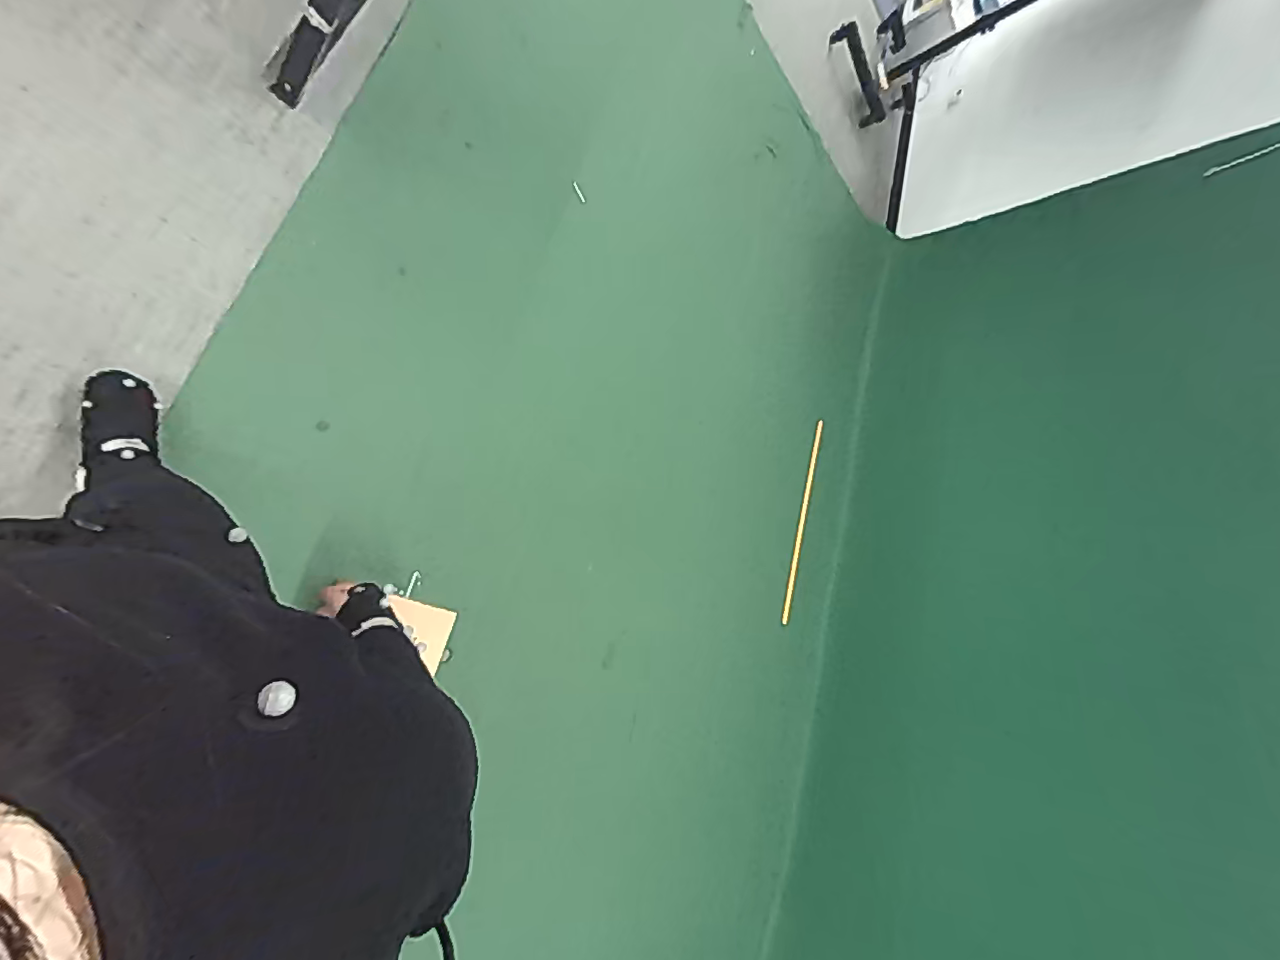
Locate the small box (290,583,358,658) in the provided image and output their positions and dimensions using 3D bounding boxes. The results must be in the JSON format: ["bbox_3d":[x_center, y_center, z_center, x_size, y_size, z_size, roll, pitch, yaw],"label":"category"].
[{"bbox_3d":[-0.724,0.359,1.342,0.179,0.176,0.168,33,64,-41],"label":"small box"}]

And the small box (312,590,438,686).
[{"bbox_3d":[-0.604,0.356,1.234,0.179,0.176,0.168,32,66,-42],"label":"small box"}]
